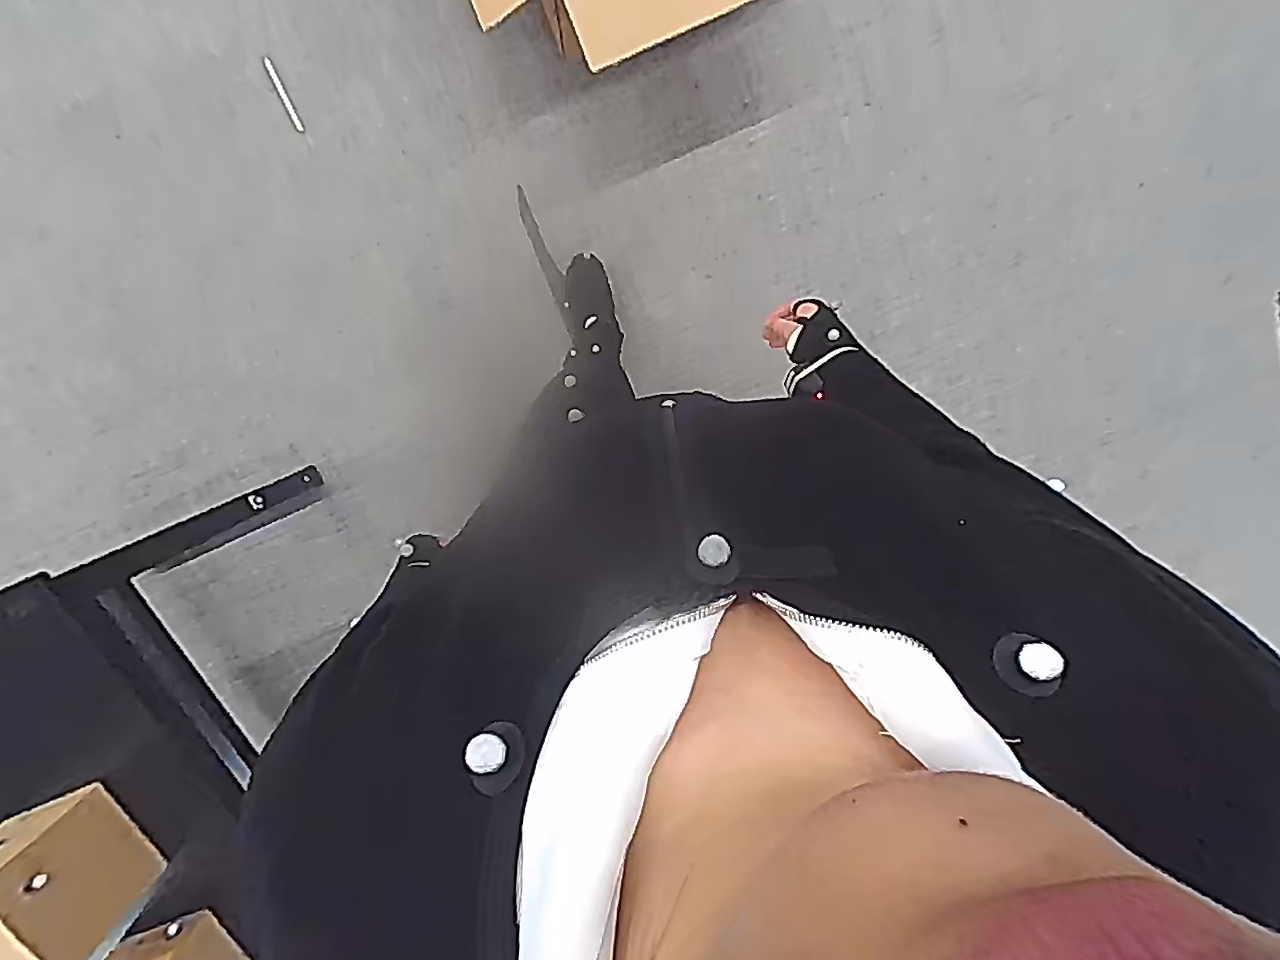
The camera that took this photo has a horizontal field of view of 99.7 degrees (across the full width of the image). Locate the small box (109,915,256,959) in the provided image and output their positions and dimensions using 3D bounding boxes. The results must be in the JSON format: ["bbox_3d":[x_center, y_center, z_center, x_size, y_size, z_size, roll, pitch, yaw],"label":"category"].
[{"bbox_3d":[-0.731,0.811,0.821,0.168,0.176,0.179,-22,105,3],"label":"small box"}]

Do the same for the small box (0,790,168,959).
[{"bbox_3d":[-0.836,0.571,0.753,0.168,0.176,0.179,-23,104,4],"label":"small box"}]
